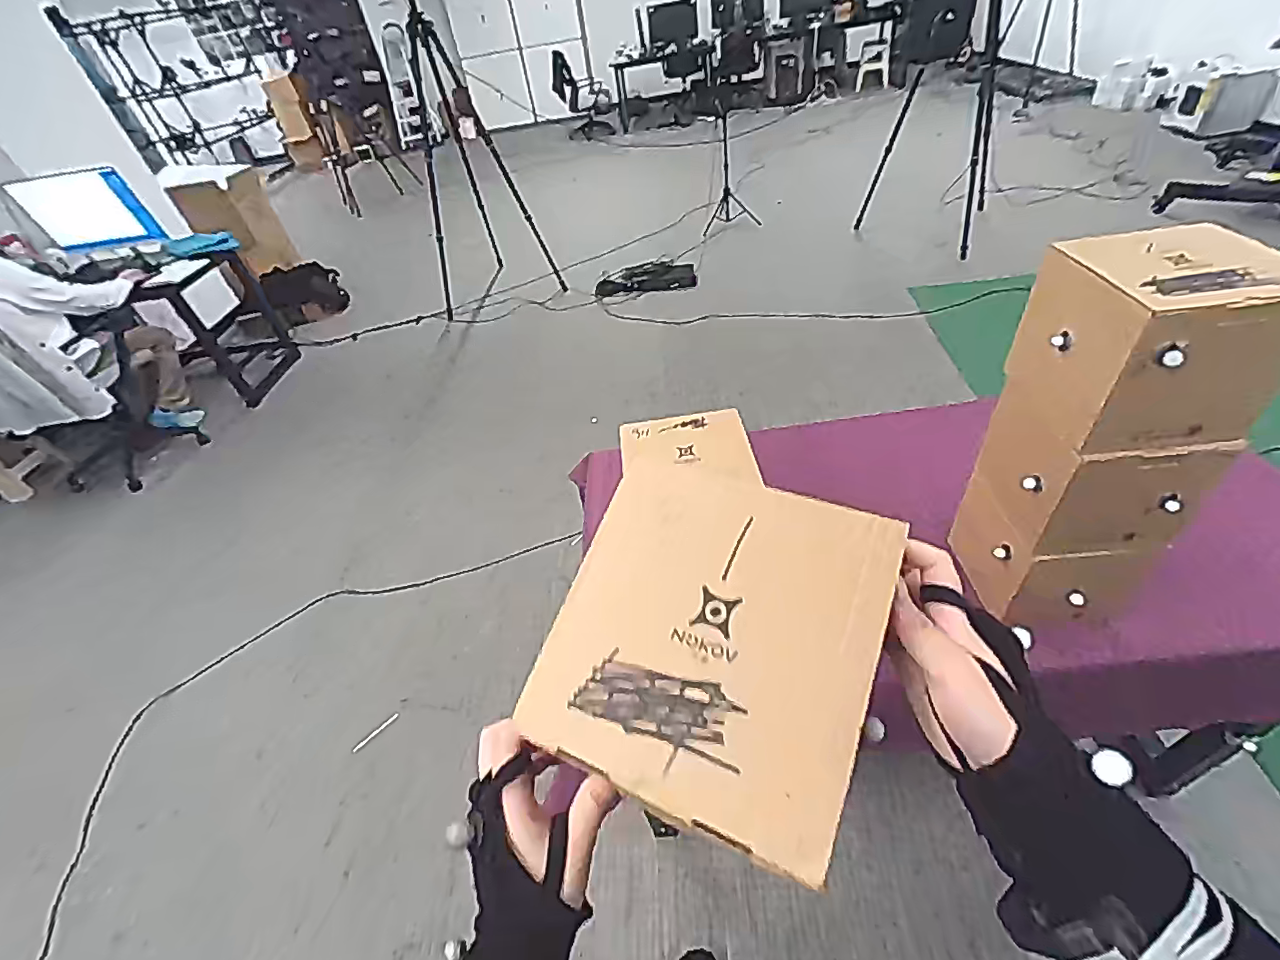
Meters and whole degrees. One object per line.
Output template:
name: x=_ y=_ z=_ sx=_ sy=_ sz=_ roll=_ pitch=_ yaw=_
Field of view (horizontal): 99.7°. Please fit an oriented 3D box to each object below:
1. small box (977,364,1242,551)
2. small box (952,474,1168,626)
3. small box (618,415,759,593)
small box: x=0.567 y=-0.023 z=0.689 sx=0.168 sy=0.176 sz=0.179 roll=-5 pitch=41 yaw=7
small box: x=0.592 y=0.099 z=0.795 sx=0.168 sy=0.176 sz=0.179 roll=-7 pitch=42 yaw=6
small box: x=0.066 y=0.039 z=0.739 sx=0.168 sy=0.176 sz=0.179 roll=-8 pitch=42 yaw=2
